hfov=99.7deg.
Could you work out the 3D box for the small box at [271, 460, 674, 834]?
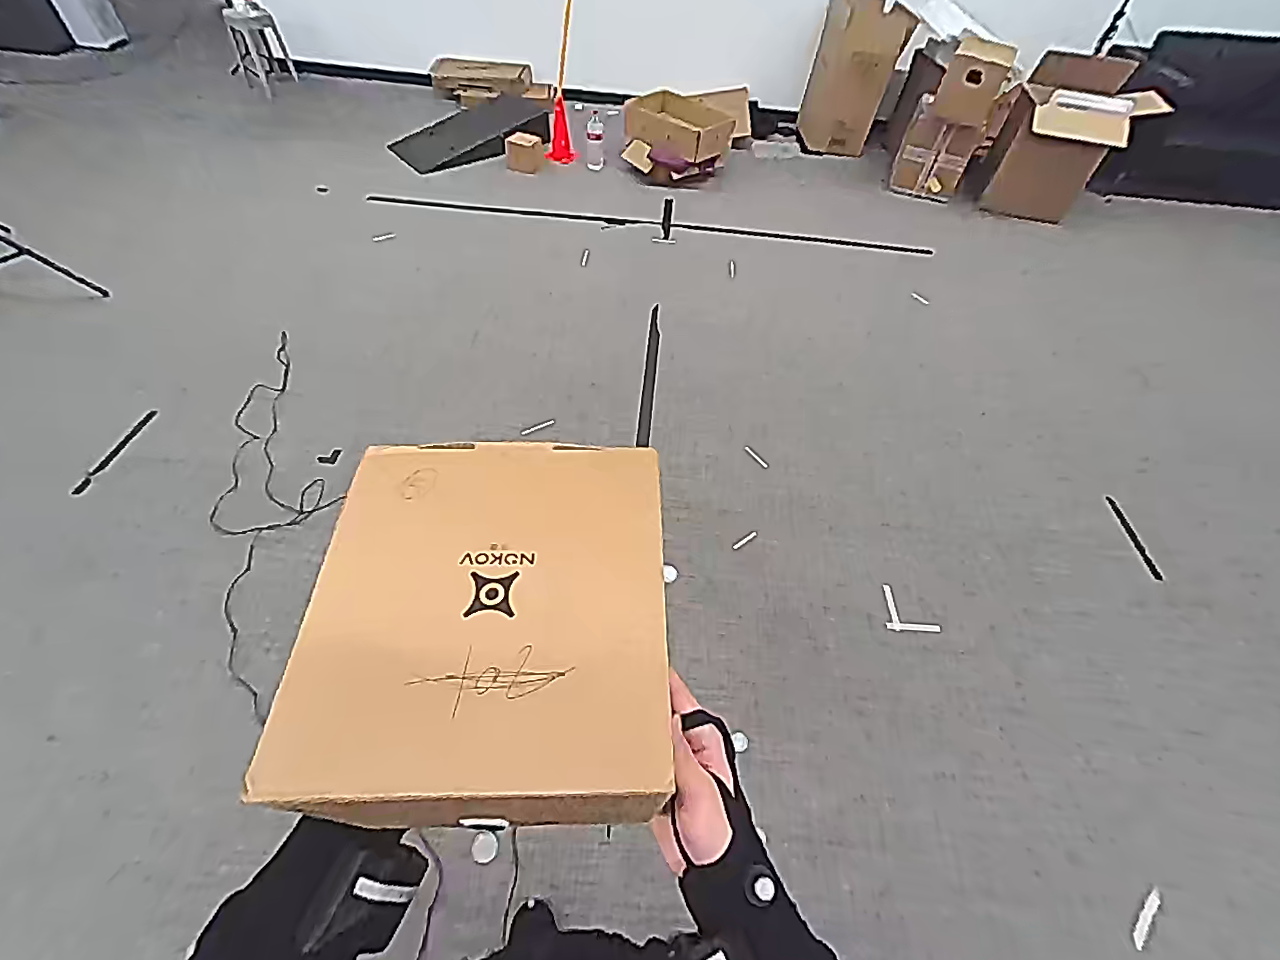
[{"bbox_3d":[-0.073,0.106,0.331,0.168,0.176,0.179,-1,55,-3],"label":"small box"}]
